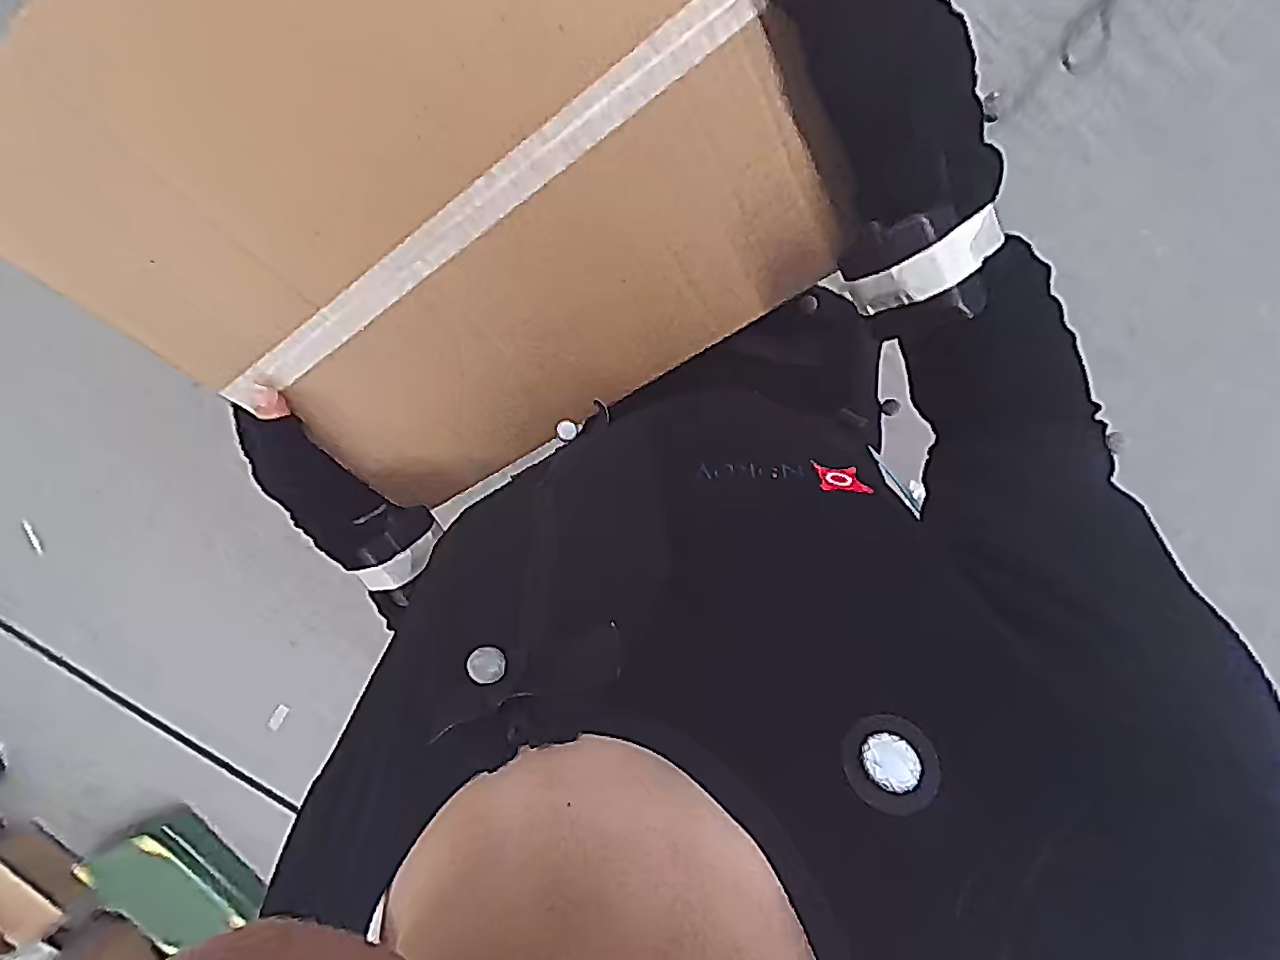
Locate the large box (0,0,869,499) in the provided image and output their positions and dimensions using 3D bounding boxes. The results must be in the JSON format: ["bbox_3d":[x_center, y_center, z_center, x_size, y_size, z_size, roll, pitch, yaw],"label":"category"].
[{"bbox_3d":[-0.111,-0.257,0.412,0.408,0.320,0.320,-26,134,18],"label":"large box"}]
